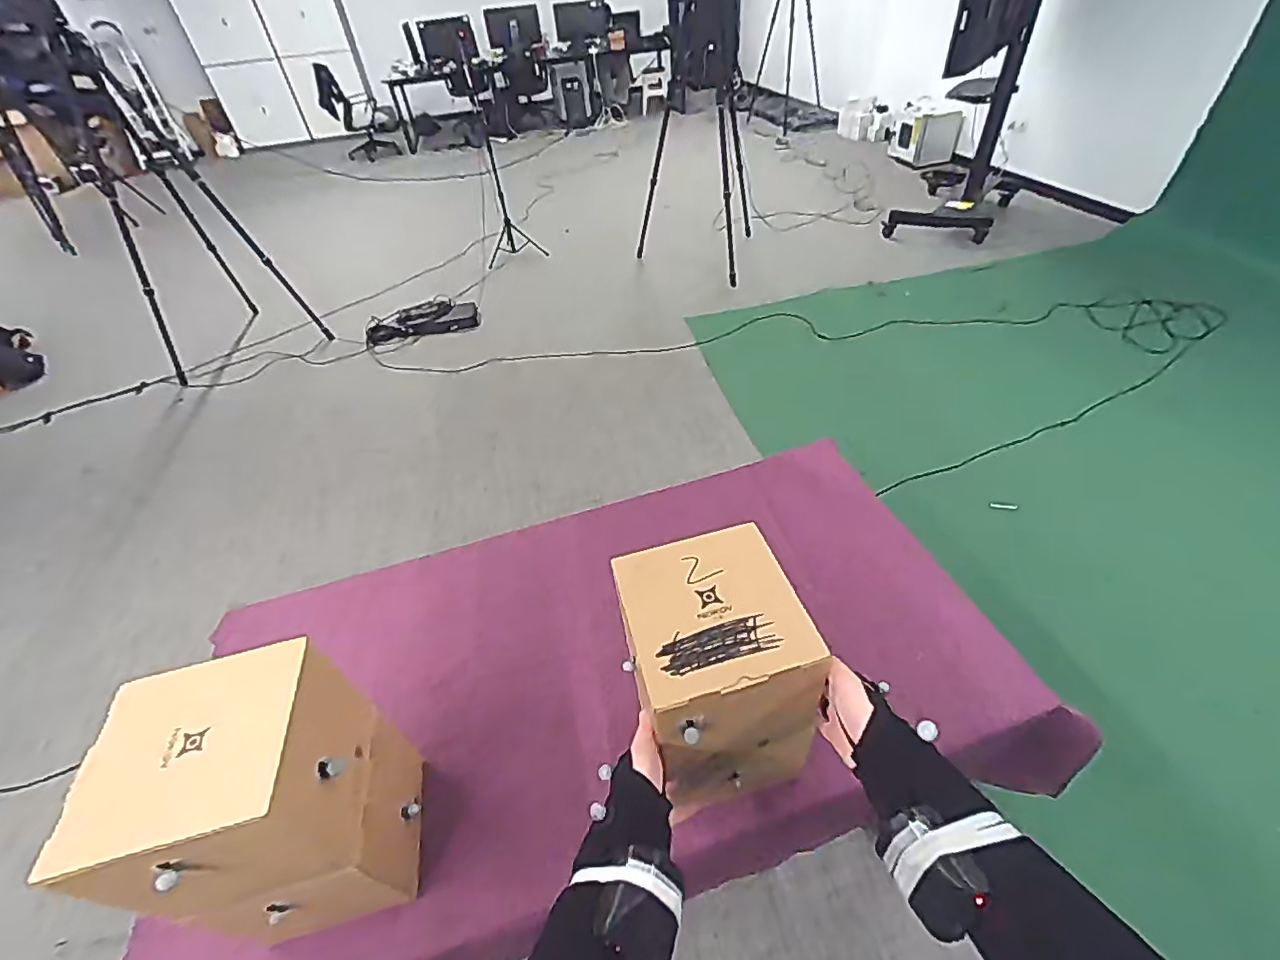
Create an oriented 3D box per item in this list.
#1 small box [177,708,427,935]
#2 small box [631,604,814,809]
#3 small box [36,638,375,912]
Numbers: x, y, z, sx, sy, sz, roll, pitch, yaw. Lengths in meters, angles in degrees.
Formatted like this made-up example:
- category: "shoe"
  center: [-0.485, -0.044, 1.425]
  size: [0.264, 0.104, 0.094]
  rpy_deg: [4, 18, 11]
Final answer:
- category: "small box"
  center: [-0.372, 0.404, 0.638]
  size: [0.179, 0.176, 0.168]
  rpy_deg: [-13, 45, -7]
- category: "small box"
  center: [0.097, 0.291, 0.695]
  size: [0.179, 0.176, 0.168]
  rpy_deg: [-15, 44, -6]
- category: "small box"
  center: [-0.383, 0.286, 0.526]
  size: [0.179, 0.176, 0.168]
  rpy_deg: [-15, 44, -6]
